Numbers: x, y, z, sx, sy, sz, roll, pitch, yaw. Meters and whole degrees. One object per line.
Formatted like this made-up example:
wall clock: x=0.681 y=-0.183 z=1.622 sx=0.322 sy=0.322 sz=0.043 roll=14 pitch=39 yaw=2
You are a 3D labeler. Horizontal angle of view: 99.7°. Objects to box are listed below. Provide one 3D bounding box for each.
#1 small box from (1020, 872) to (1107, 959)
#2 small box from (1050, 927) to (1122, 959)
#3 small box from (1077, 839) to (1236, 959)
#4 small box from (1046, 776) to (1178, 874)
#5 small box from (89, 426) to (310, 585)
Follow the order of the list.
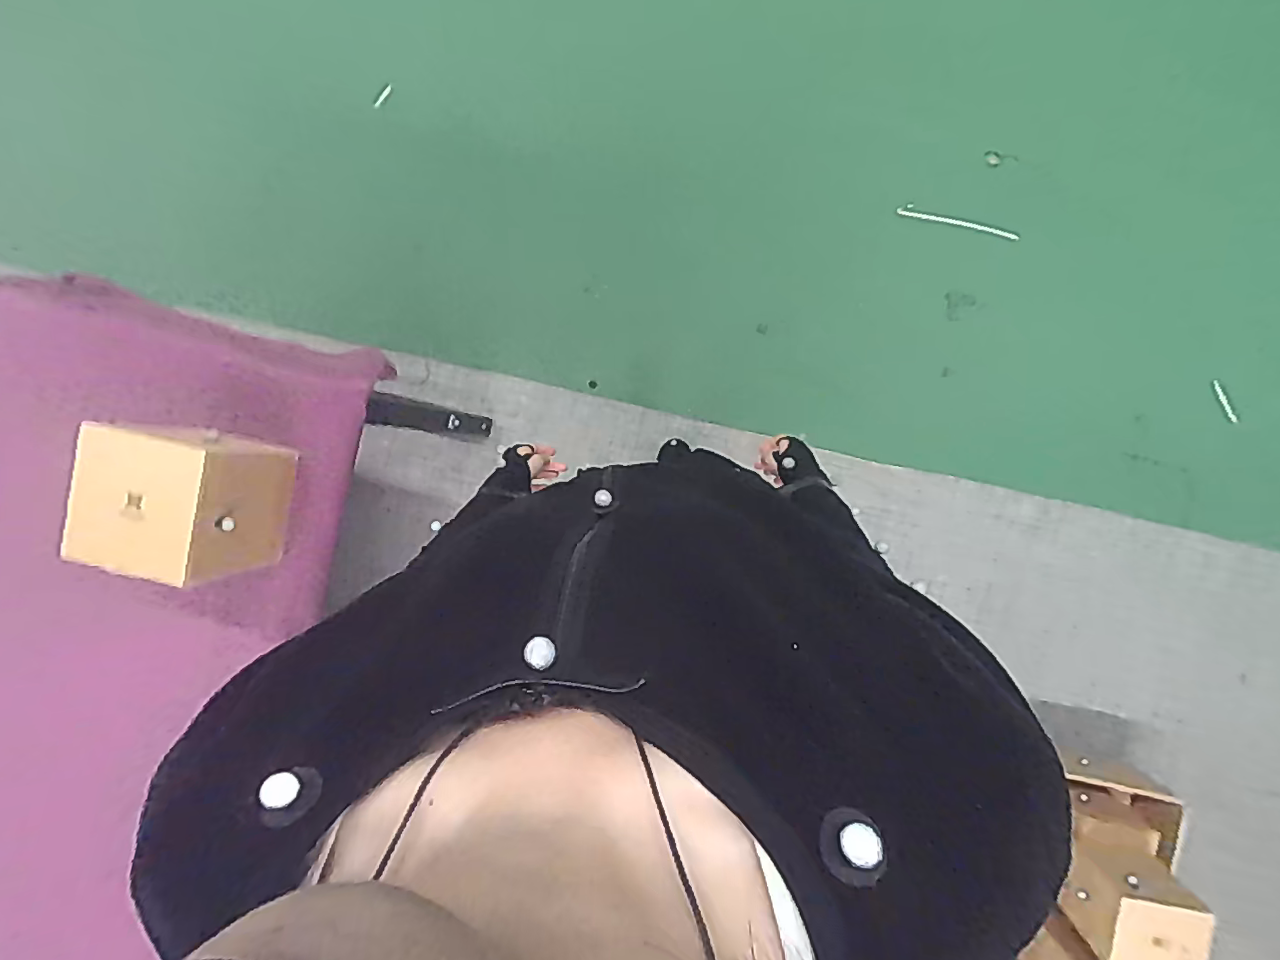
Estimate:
small box: x=1.074 y=1.114 z=1.330 sx=0.168 sy=0.176 sz=0.179 roll=5 pitch=93 yaw=6
small box: x=1.033 y=1.124 z=1.170 sx=0.179 sy=0.176 sz=0.168 roll=9 pitch=92 yaw=5
small box: x=1.087 y=0.912 z=1.156 sx=0.179 sy=0.176 sz=0.168 roll=6 pitch=95 yaw=7
small box: x=1.132 y=0.857 z=1.312 sx=0.168 sy=0.176 sz=0.179 roll=8 pitch=96 yaw=7
small box: x=-0.602 y=0.027 z=0.761 sx=0.168 sy=0.176 sz=0.179 roll=12 pitch=95 yaw=4
